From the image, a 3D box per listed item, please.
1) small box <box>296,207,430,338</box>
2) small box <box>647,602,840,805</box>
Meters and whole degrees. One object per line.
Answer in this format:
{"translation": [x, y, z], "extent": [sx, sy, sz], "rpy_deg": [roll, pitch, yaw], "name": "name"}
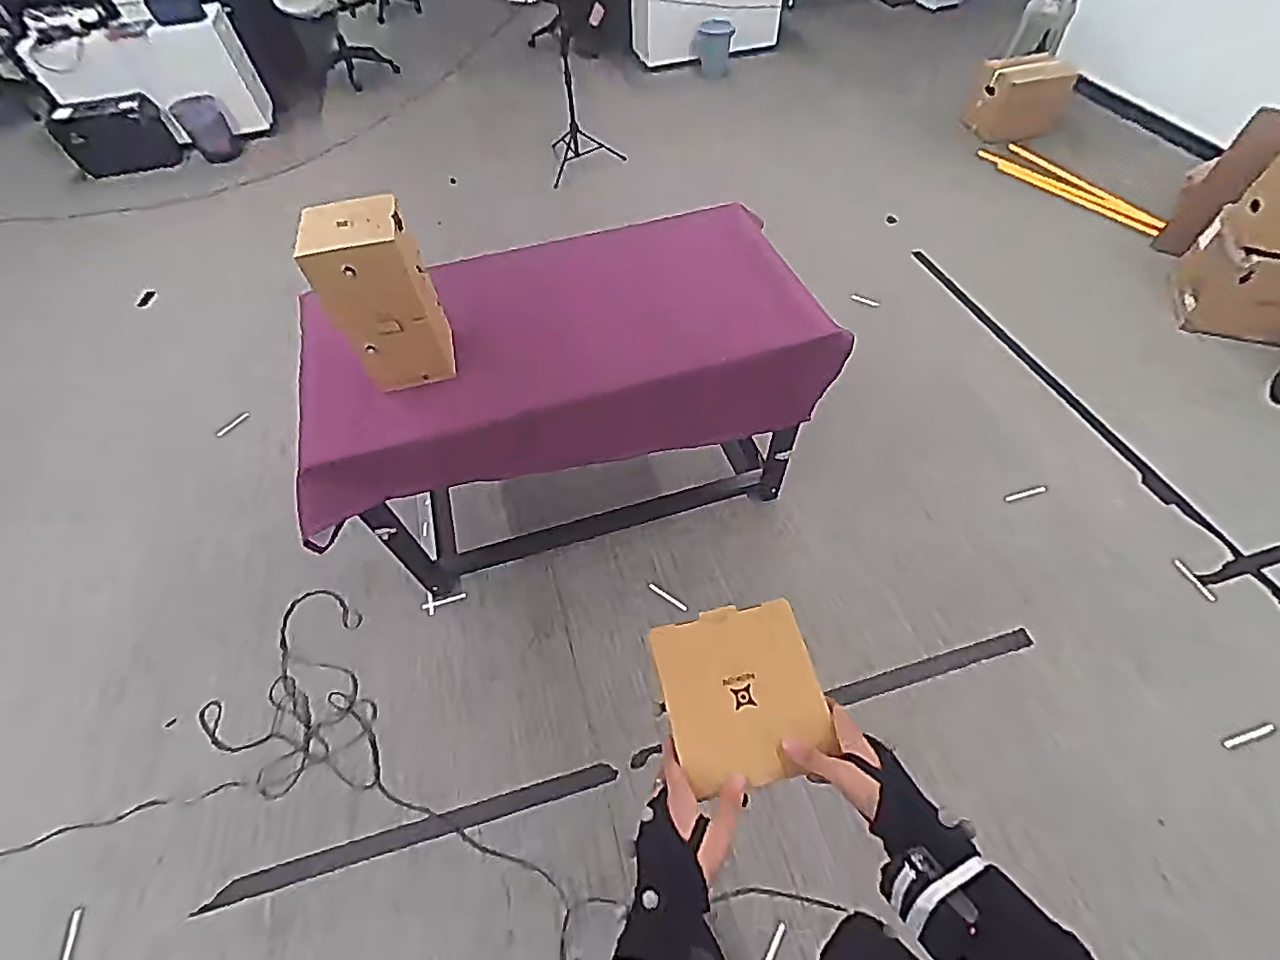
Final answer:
{"translation": [-0.530, -0.400, 1.059], "extent": [0.179, 0.176, 0.168], "rpy_deg": [-13, 55, -7], "name": "small box"}
{"translation": [0.109, 0.269, 0.642], "extent": [0.168, 0.176, 0.179], "rpy_deg": [-12, 58, -5], "name": "small box"}
